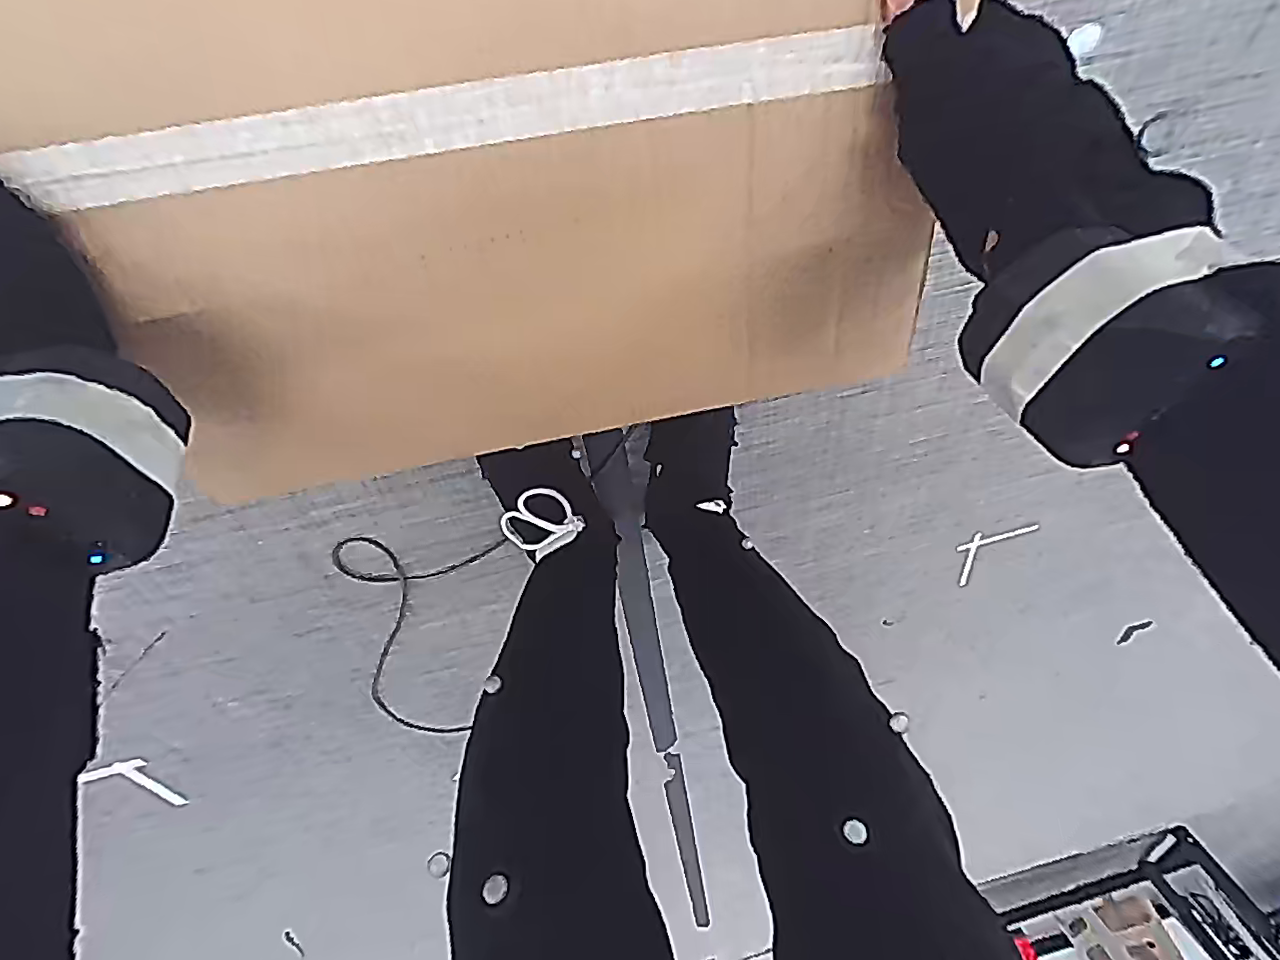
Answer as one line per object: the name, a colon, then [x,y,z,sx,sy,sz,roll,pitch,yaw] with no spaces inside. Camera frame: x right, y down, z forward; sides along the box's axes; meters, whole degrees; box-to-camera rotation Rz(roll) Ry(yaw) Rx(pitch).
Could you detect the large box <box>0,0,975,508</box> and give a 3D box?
large box: [-0.078,-0.230,0.349,0.408,0.320,0.320,-12,128,-5]
